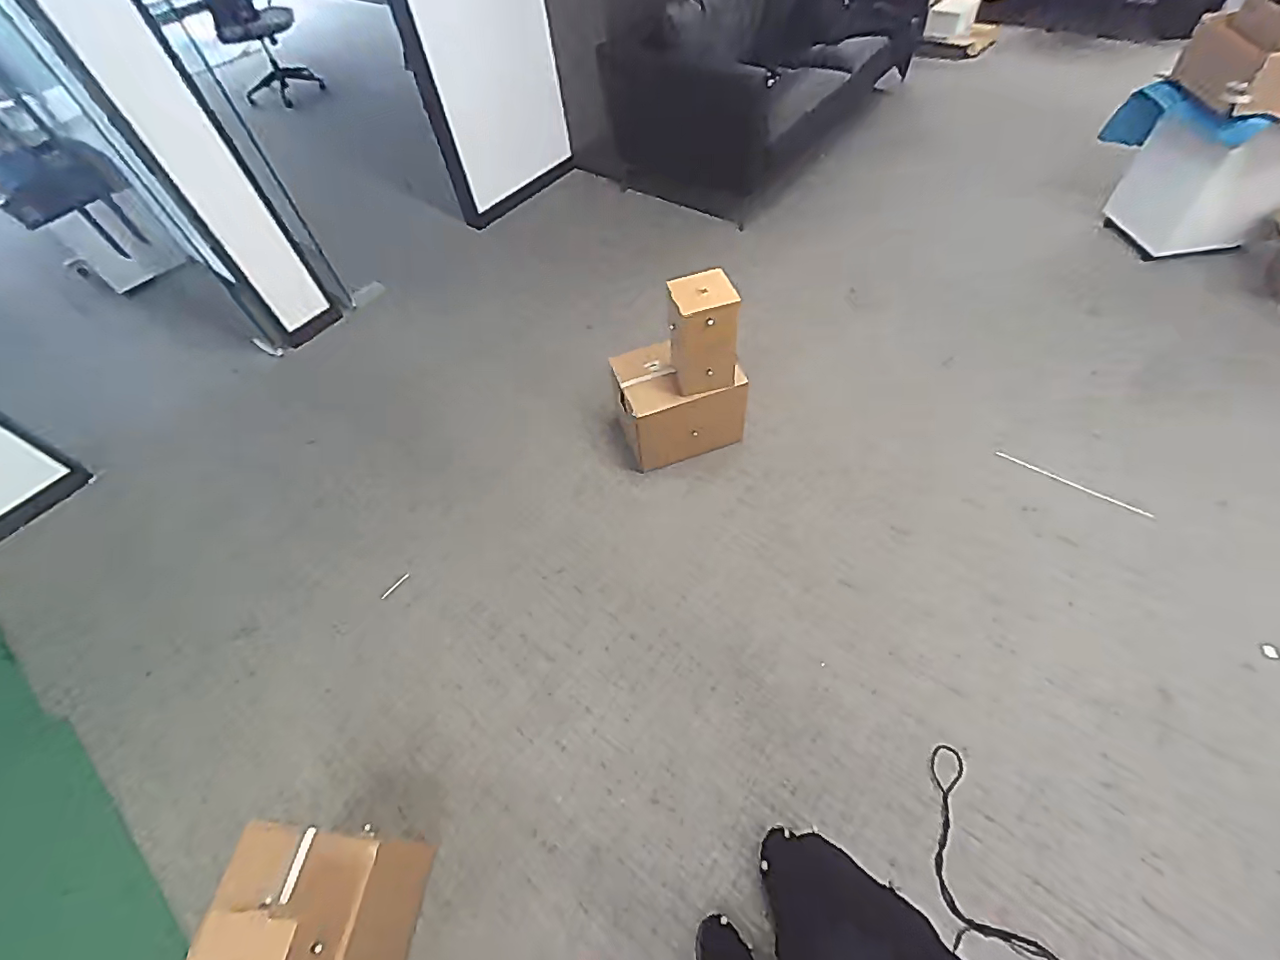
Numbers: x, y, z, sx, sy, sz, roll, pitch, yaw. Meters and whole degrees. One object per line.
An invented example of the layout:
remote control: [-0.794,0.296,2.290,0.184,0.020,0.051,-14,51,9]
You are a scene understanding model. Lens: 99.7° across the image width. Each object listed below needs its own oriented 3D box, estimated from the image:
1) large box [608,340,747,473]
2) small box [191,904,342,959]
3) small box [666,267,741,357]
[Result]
large box: [0.136,-0.285,1.968,0.408,0.320,0.320,-20,54,-7]
small box: [-0.653,0.855,0.932,0.168,0.176,0.179,3,56,8]
small box: [0.185,-0.497,1.610,0.179,0.176,0.168,-17,56,-5]
